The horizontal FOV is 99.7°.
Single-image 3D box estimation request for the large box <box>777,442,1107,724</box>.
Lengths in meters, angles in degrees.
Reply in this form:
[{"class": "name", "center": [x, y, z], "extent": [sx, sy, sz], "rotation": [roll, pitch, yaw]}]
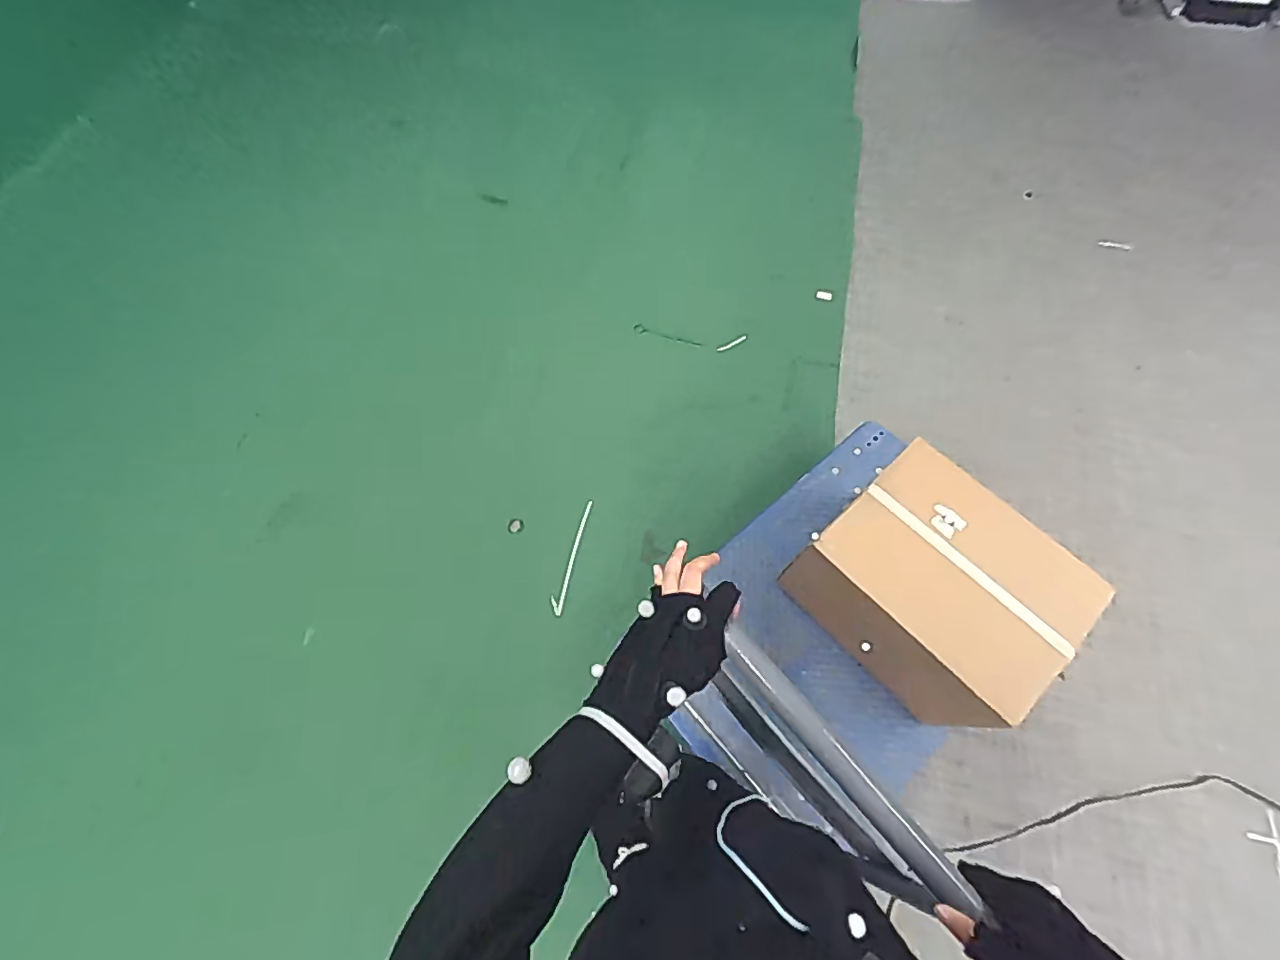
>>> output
[{"class": "large box", "center": [0.543, 0.209, 1.060], "extent": [0.320, 0.320, 0.408], "rotation": [-40, 70, -15]}]
